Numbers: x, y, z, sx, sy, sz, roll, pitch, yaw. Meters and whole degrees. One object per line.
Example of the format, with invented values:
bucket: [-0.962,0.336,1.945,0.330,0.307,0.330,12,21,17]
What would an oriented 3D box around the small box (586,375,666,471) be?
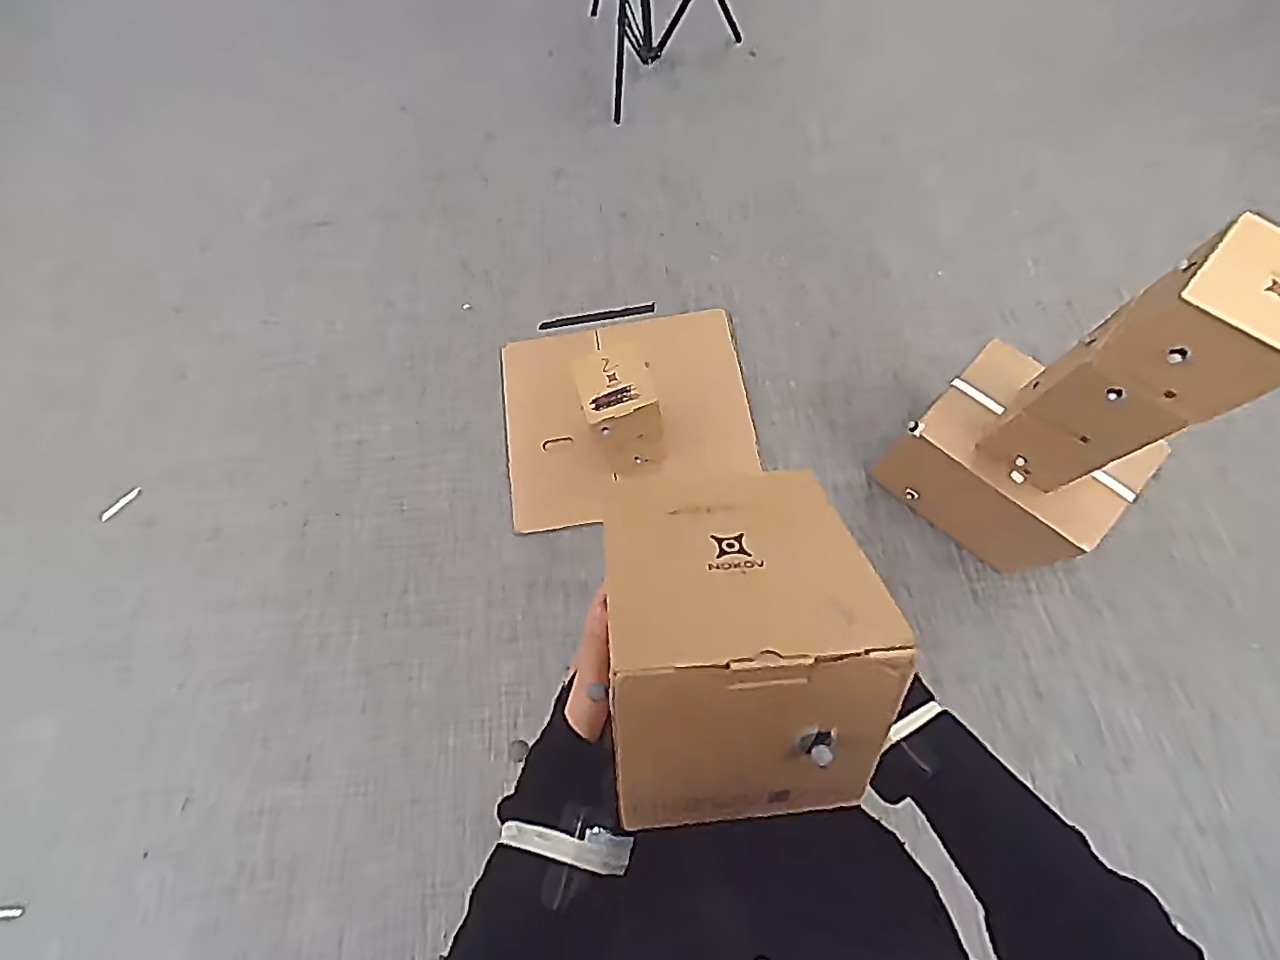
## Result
small box: [-0.034,-0.148,1.452,0.168,0.176,0.179,-18,71,1]

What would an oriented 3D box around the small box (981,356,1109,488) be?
small box: [0.812,-0.114,1.050,0.168,0.176,0.179,40,80,16]

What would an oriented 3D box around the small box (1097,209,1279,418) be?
small box: [0.788,-0.216,0.740,0.168,0.176,0.179,40,79,16]

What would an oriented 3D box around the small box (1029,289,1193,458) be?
small box: [0.800,-0.169,0.896,0.168,0.176,0.179,40,79,16]

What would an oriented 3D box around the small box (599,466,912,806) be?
small box: [0.058,0.109,0.391,0.168,0.176,0.179,-3,33,-5]
